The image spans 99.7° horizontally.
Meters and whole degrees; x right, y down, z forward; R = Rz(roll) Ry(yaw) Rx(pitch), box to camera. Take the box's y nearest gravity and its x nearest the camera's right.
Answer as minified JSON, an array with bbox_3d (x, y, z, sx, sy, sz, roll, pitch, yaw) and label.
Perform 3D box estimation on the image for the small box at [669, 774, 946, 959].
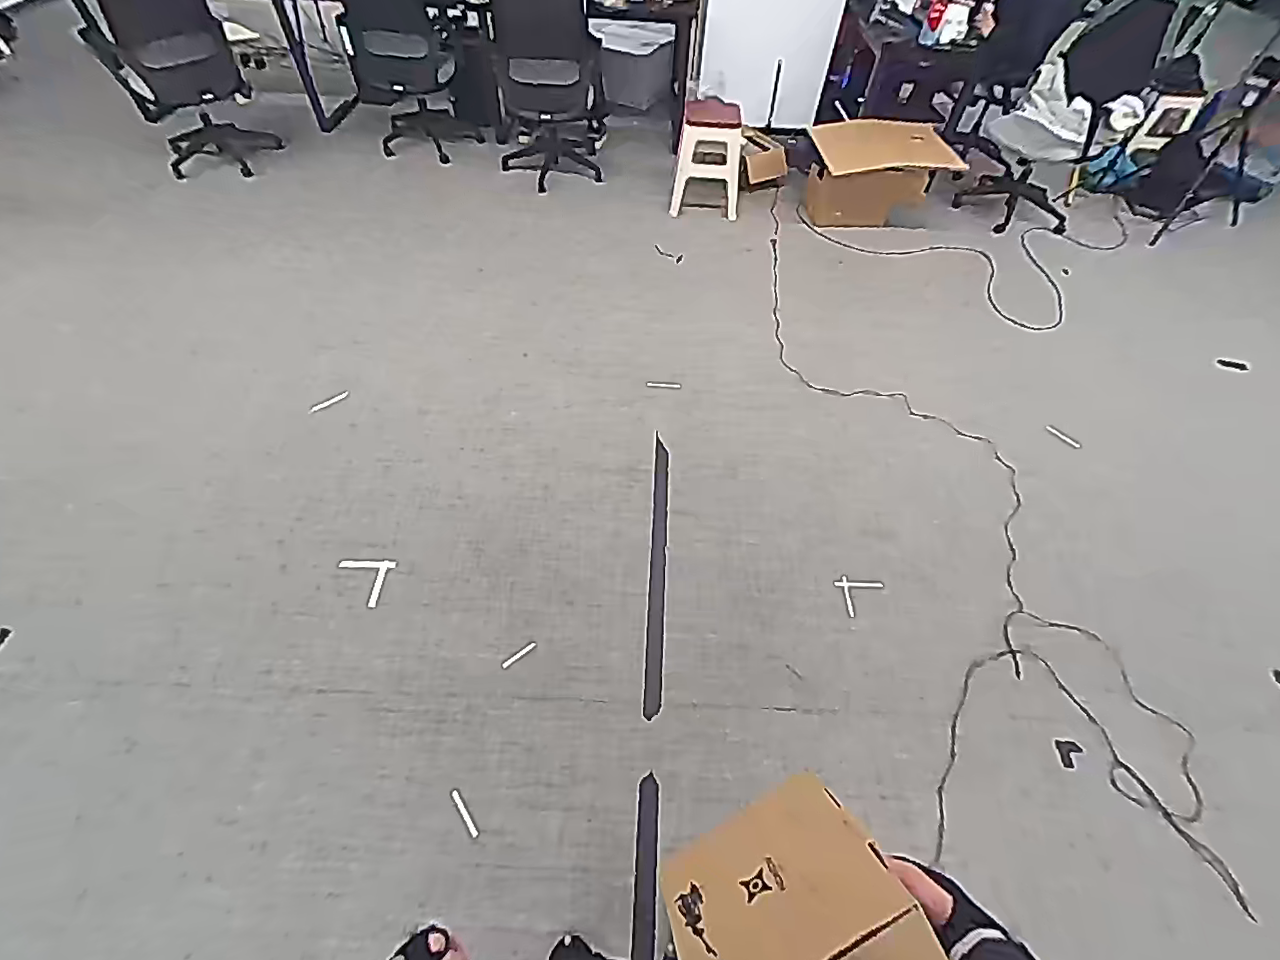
[{"bbox_3d":[0.151,0.407,0.461,0.179,0.168,0.176,-28,95,-6],"label":"small box"}]
